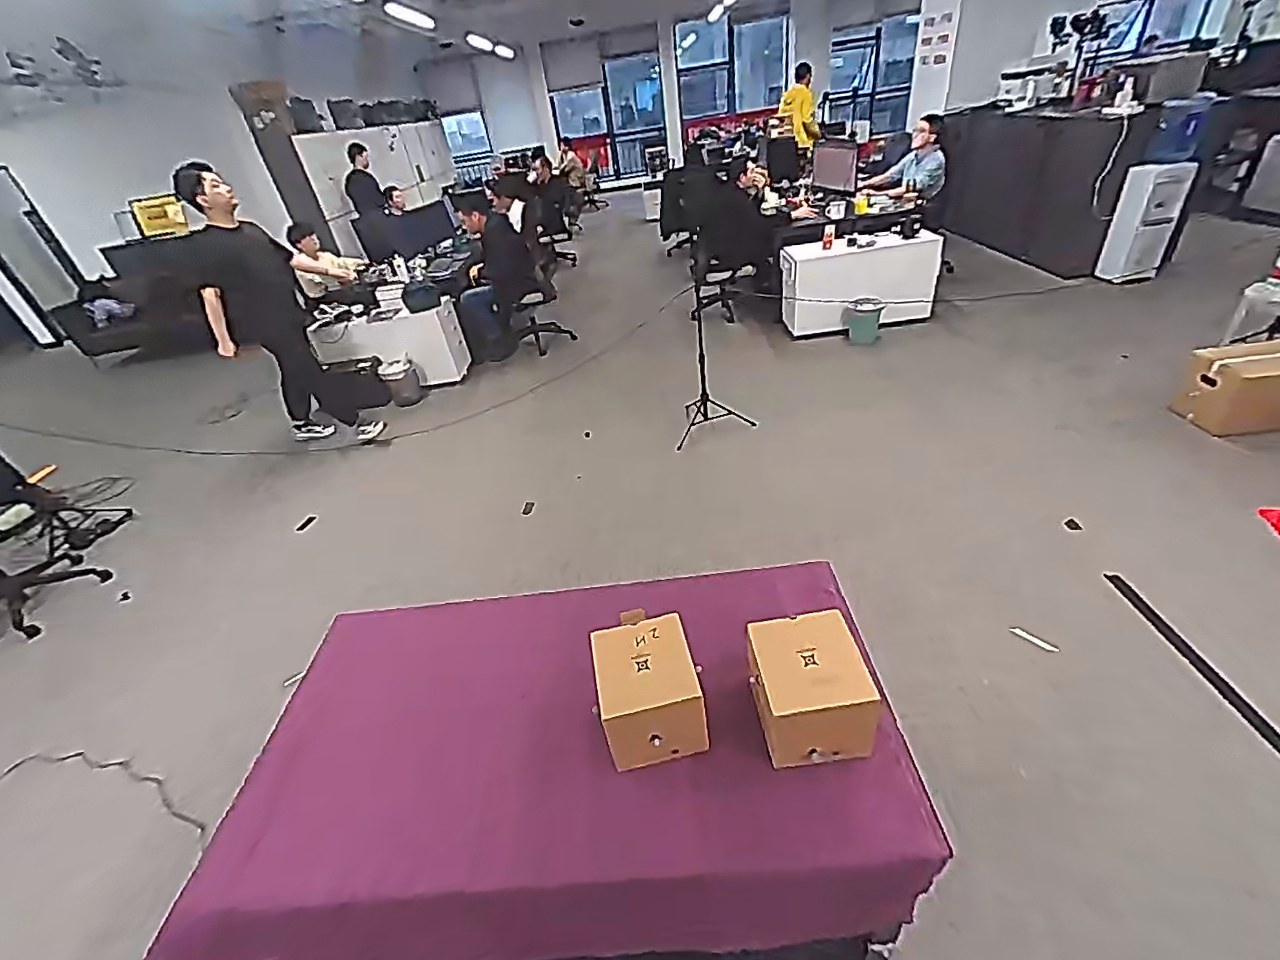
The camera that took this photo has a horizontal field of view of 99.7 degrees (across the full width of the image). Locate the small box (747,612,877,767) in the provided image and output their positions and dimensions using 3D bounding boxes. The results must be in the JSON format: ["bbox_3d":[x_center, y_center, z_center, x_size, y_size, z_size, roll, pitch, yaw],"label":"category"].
[{"bbox_3d":[0.283,0.358,0.929,0.168,0.176,0.179,-9,34,2],"label":"small box"}]

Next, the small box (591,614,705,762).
[{"bbox_3d":[0.014,0.376,0.967,0.168,0.176,0.179,-12,35,-4],"label":"small box"}]
